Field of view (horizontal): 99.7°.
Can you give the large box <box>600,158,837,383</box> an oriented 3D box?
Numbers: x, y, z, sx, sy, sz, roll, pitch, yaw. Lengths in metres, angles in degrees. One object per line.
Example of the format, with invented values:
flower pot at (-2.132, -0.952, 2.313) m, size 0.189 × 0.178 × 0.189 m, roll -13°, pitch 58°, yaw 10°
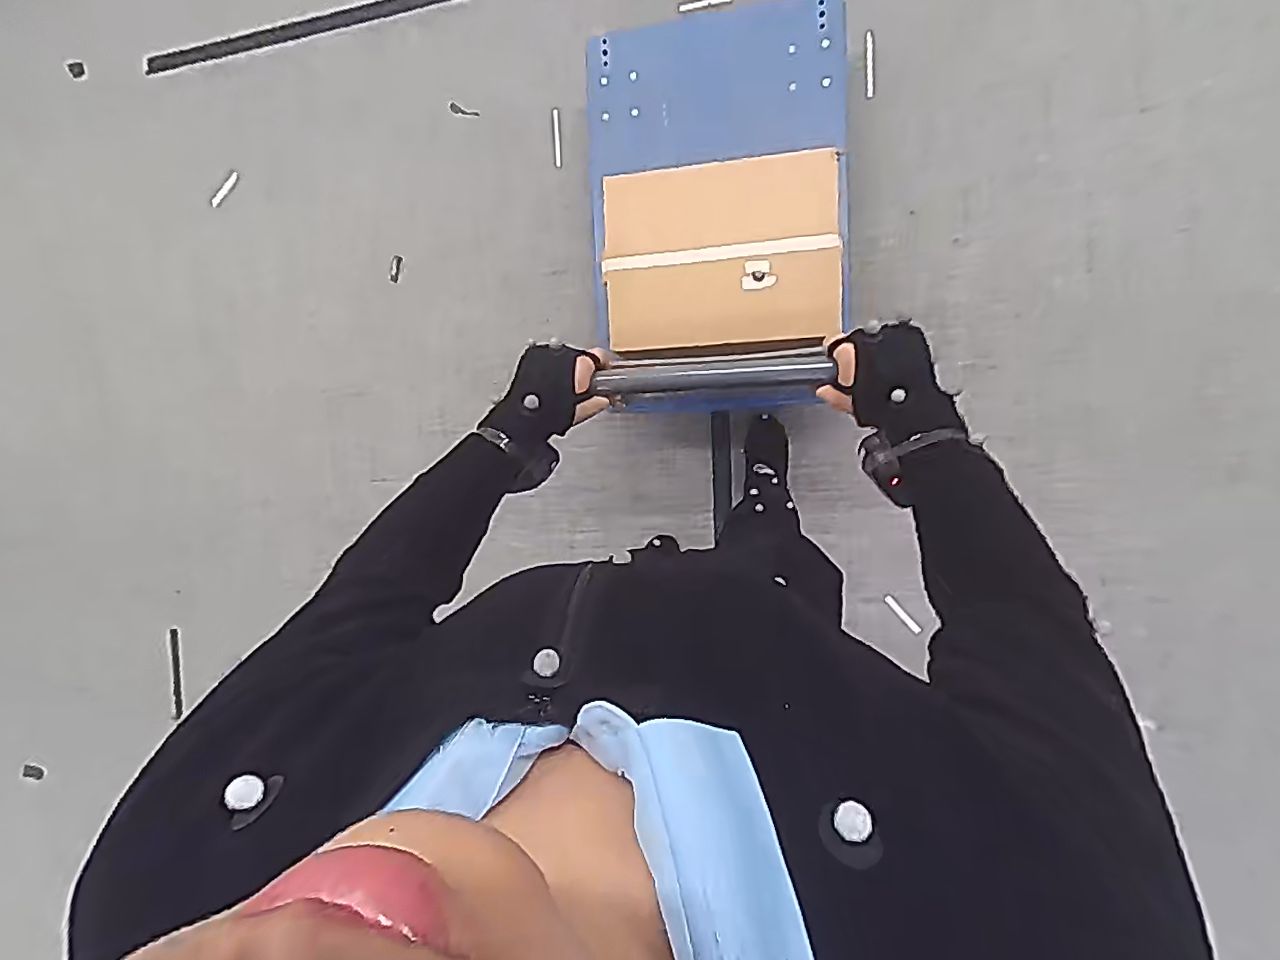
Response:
large box at (0.153, -0.383, 1.088) m, size 0.408 × 0.320 × 0.320 m, roll -2°, pitch 93°, yaw 9°
